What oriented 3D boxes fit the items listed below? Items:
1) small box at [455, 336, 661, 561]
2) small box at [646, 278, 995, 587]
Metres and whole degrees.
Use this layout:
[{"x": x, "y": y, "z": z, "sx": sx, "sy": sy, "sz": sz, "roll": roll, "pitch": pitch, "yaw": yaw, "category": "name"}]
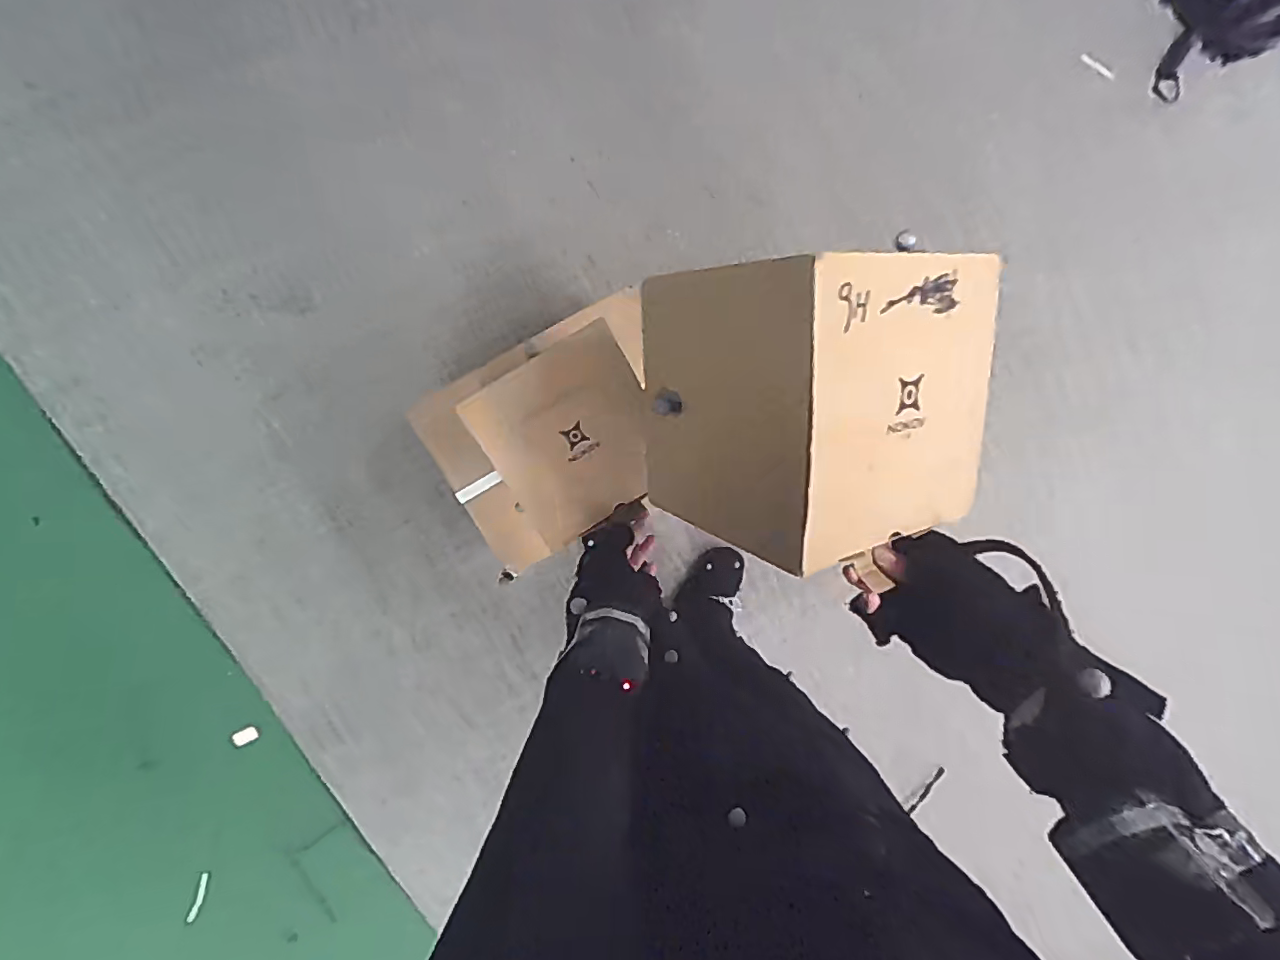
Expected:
[{"x": -0.081, "y": -0.043, "z": 0.614, "sx": 0.168, "sy": 0.176, "sz": 0.179, "roll": -34, "pitch": 105, "yaw": -5, "category": "small box"}, {"x": 0.116, "y": -0.051, "z": 0.396, "sx": 0.168, "sy": 0.176, "sz": 0.179, "roll": -12, "pitch": 110, "yaw": -28, "category": "small box"}]
